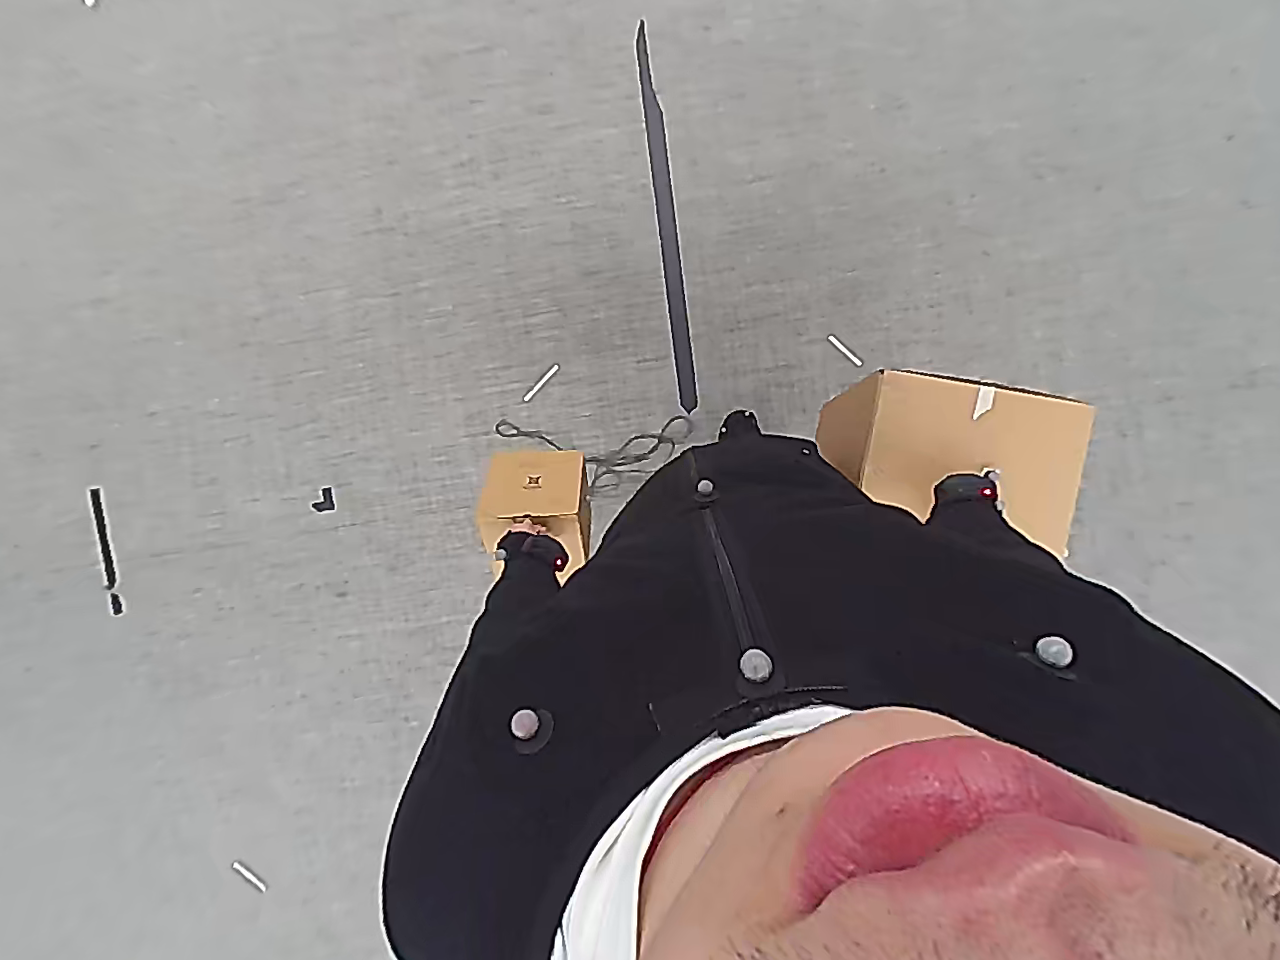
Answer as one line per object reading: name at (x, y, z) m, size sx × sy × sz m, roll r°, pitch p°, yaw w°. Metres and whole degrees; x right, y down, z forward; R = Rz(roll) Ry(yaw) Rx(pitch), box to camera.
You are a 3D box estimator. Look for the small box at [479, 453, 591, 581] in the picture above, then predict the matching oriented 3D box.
small box at (-0.180, 0.072, 0.988) m, size 0.168 × 0.179 × 0.176 m, roll -2°, pitch 130°, yaw -1°
